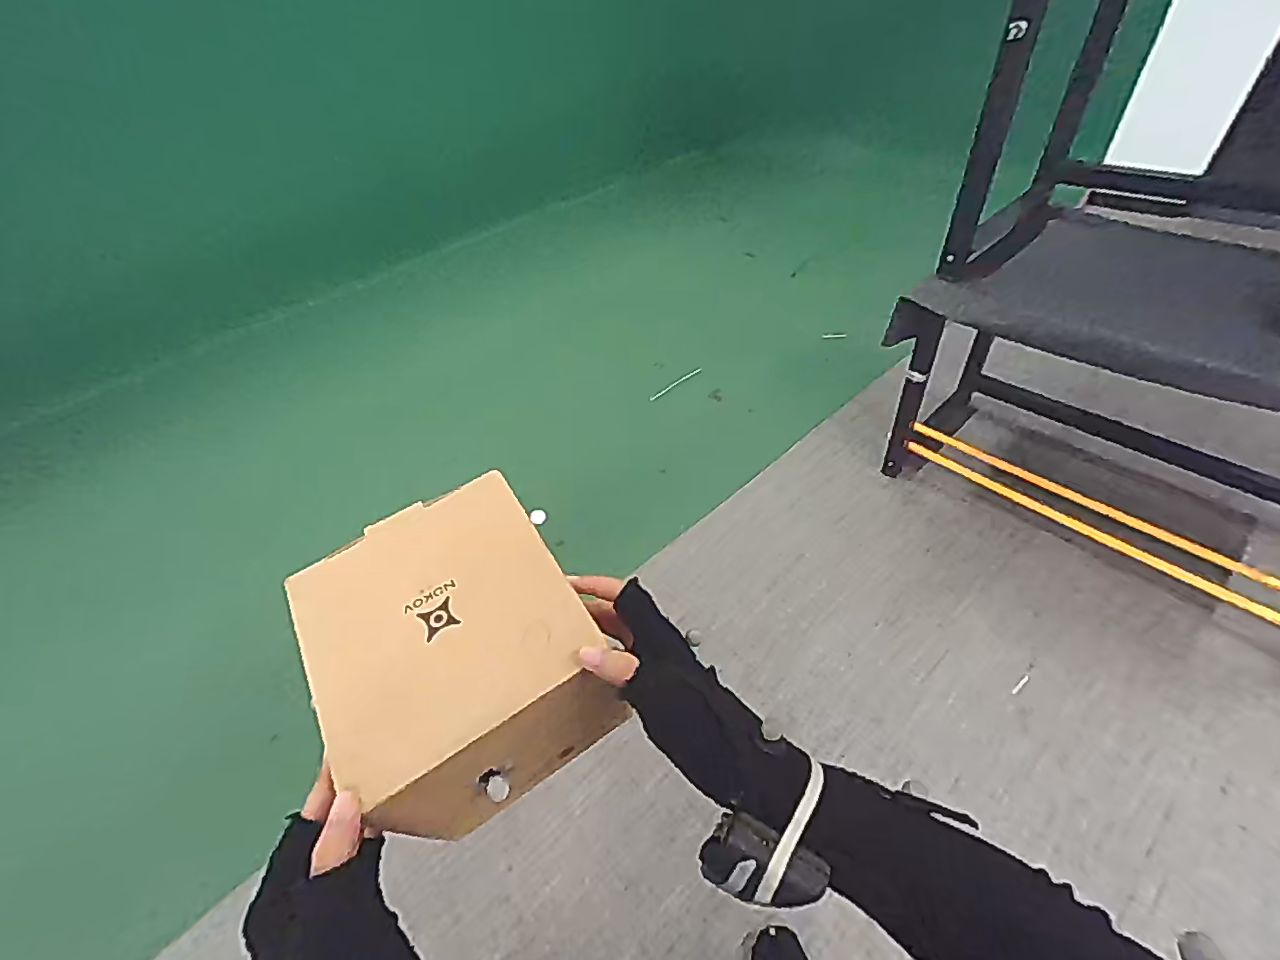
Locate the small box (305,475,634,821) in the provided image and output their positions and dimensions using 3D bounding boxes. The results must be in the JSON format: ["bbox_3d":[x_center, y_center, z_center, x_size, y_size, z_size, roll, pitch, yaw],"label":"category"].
[{"bbox_3d":[-0.118,0.136,0.425,0.168,0.176,0.179,-30,57,-16],"label":"small box"}]
